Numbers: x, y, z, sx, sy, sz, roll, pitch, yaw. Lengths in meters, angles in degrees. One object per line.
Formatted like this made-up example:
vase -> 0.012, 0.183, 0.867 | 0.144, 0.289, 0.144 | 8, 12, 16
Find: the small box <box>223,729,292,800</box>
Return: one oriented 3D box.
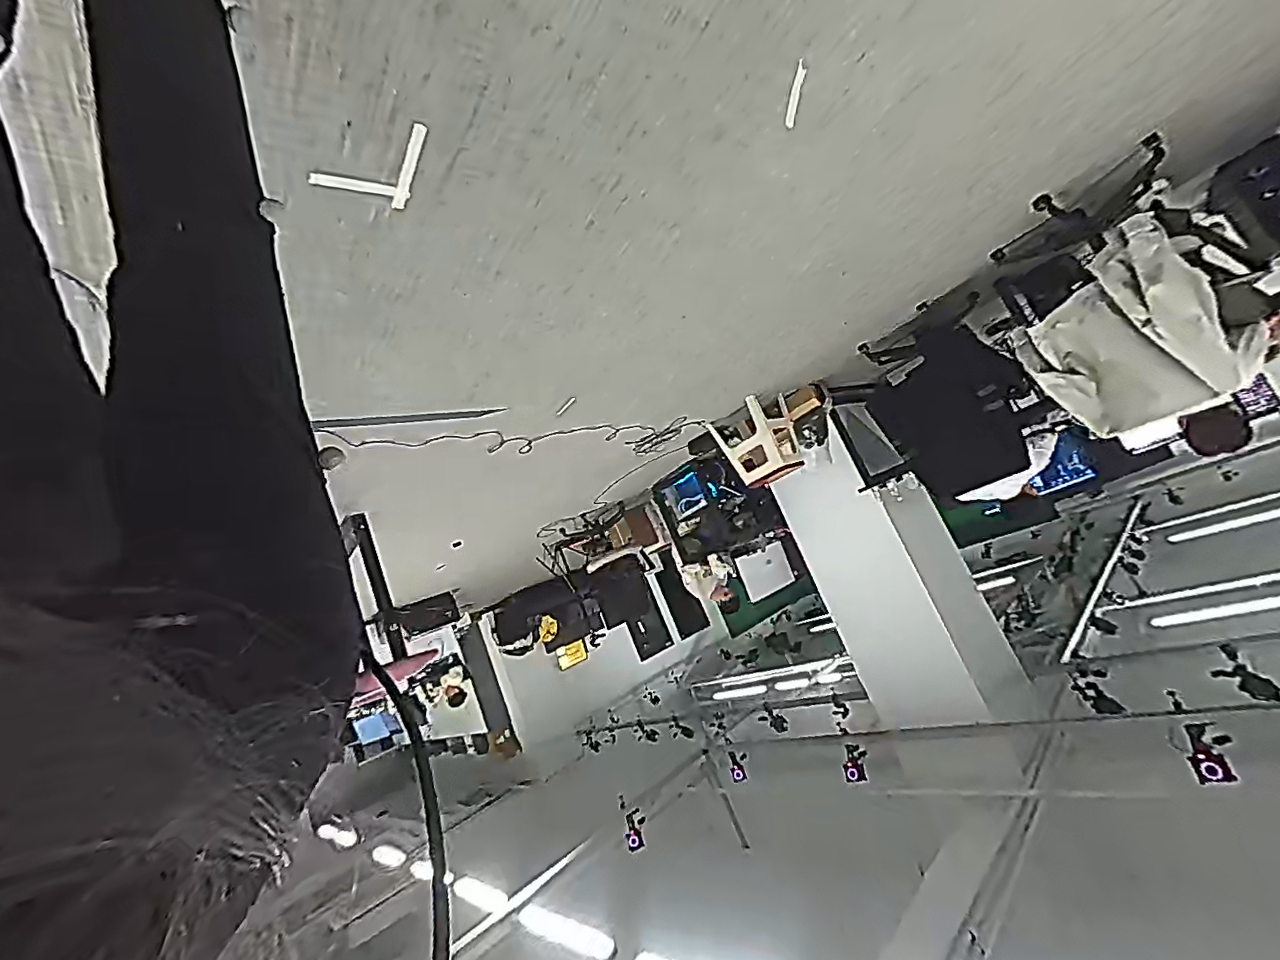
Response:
small box -> -1.404, 1.037, 1.984 | 0.179, 0.176, 0.168 | -15, 167, -32
